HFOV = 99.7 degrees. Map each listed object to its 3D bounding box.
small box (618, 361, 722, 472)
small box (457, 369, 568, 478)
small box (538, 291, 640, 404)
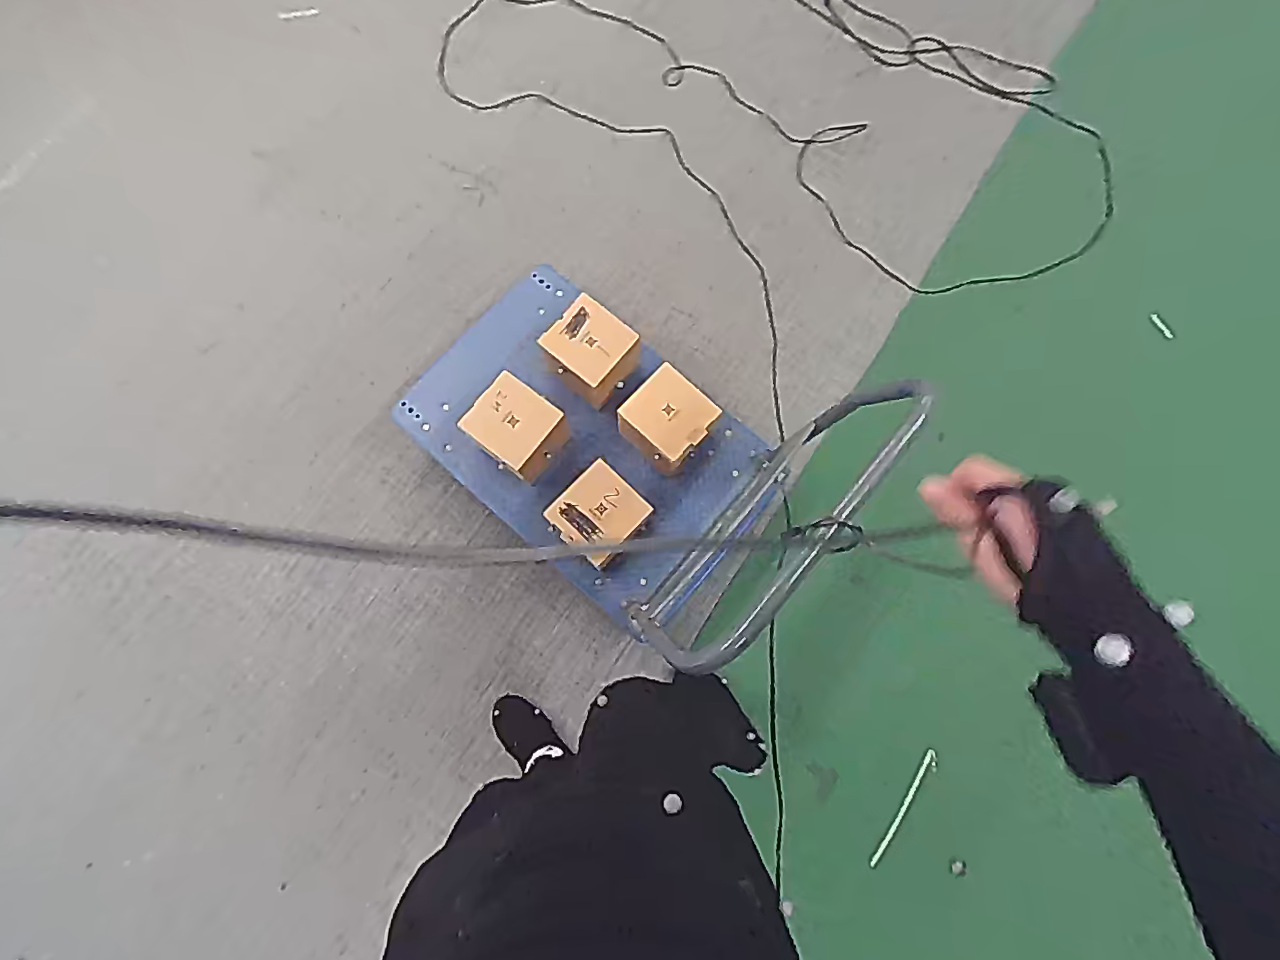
[{"bbox_3d":[0.064,-0.141,1.275,0.179,0.176,0.168,43,81,6],"label":"small box"},{"bbox_3d":[-0.285,-0.121,1.261,0.179,0.176,0.168,37,80,6],"label":"small box"},{"bbox_3d":[-0.118,-0.309,1.302,0.179,0.176,0.168,40,81,5],"label":"small box"}]
